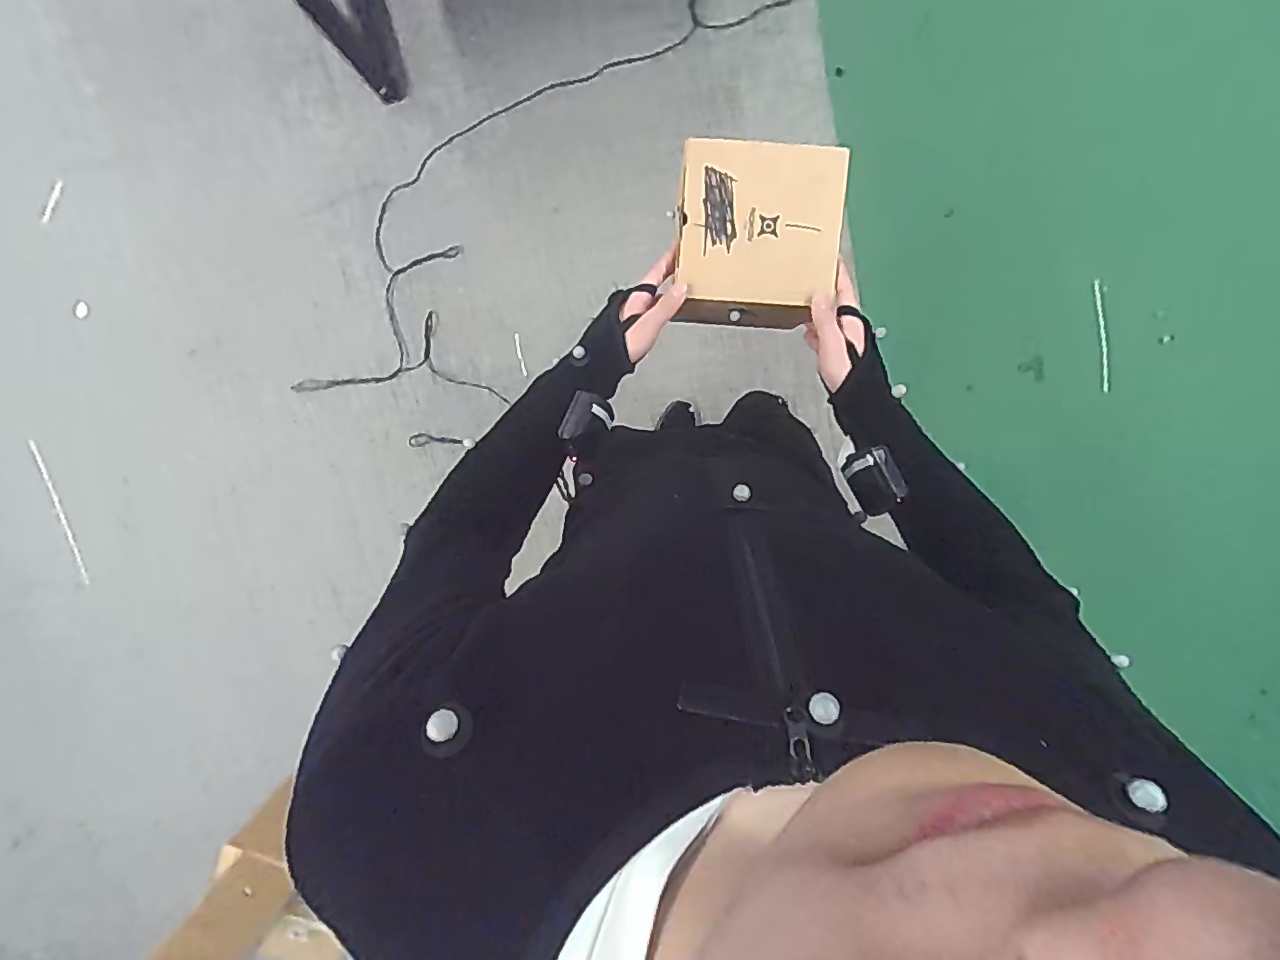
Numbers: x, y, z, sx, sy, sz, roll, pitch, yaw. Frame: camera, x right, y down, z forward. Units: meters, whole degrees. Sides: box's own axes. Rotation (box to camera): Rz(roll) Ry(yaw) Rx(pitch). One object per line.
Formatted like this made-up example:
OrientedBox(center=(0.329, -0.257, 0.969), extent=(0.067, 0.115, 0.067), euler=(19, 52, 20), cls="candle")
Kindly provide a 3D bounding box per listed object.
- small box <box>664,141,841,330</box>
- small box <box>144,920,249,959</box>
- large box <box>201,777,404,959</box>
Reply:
OrientedBox(center=(0.121, -0.279, 0.655), extent=(0.179, 0.176, 0.168), euler=(3, 98, -1), cls="small box")
OrientedBox(center=(-1.063, 1.171, 1.245), extent=(0.179, 0.176, 0.168), euler=(23, 97, -4), cls="small box")
OrientedBox(center=(-1.015, 1.192, 1.659), extent=(0.408, 0.320, 0.320), euler=(19, 99, -3), cls="large box")
